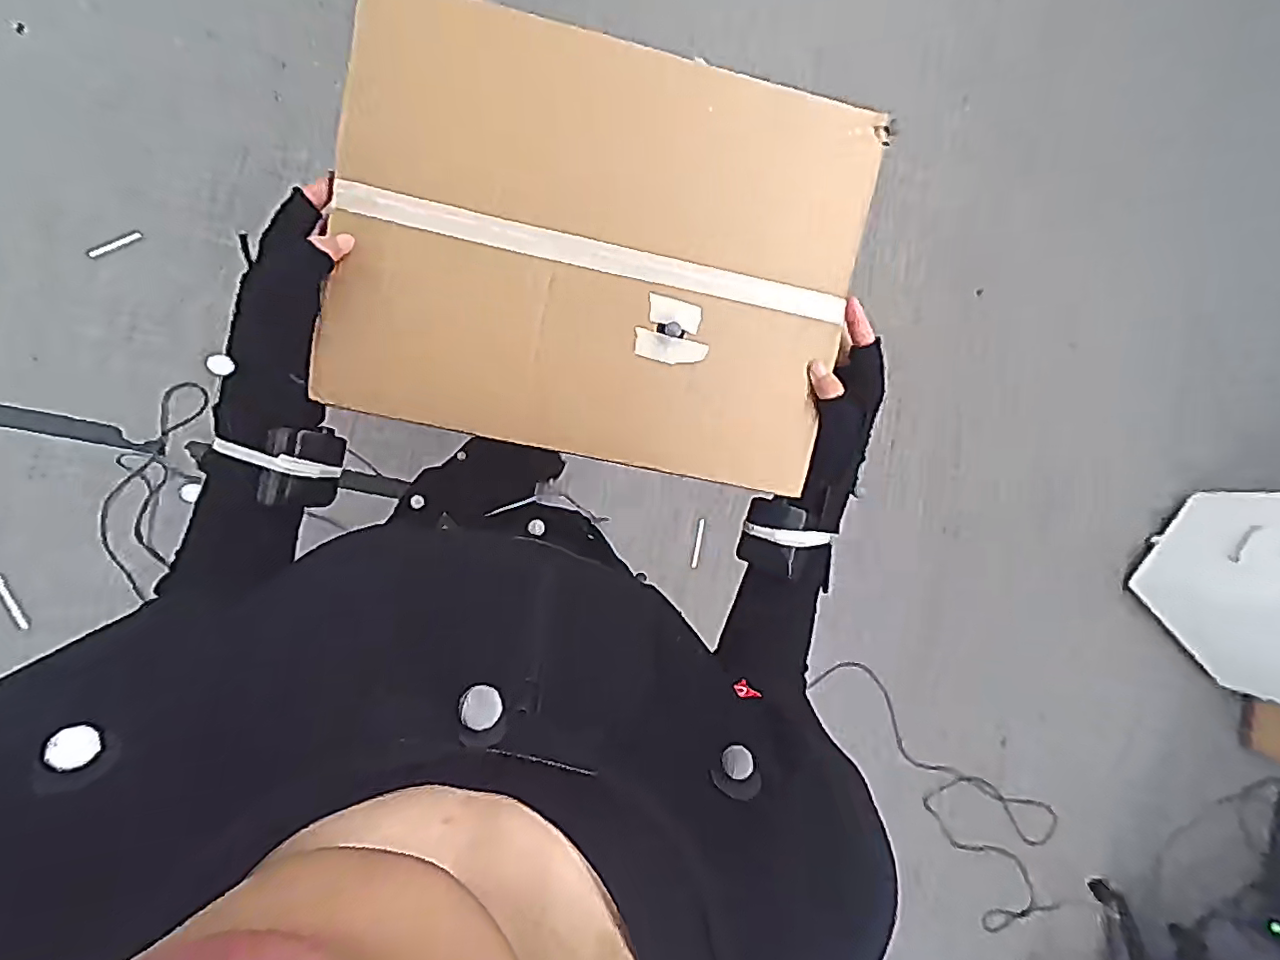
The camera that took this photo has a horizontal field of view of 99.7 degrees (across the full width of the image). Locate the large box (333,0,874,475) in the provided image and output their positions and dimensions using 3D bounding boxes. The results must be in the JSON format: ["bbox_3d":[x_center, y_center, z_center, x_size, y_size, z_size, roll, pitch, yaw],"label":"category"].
[{"bbox_3d":[-0.042,-0.204,0.586,0.408,0.320,0.320,11,97,-7],"label":"large box"}]
